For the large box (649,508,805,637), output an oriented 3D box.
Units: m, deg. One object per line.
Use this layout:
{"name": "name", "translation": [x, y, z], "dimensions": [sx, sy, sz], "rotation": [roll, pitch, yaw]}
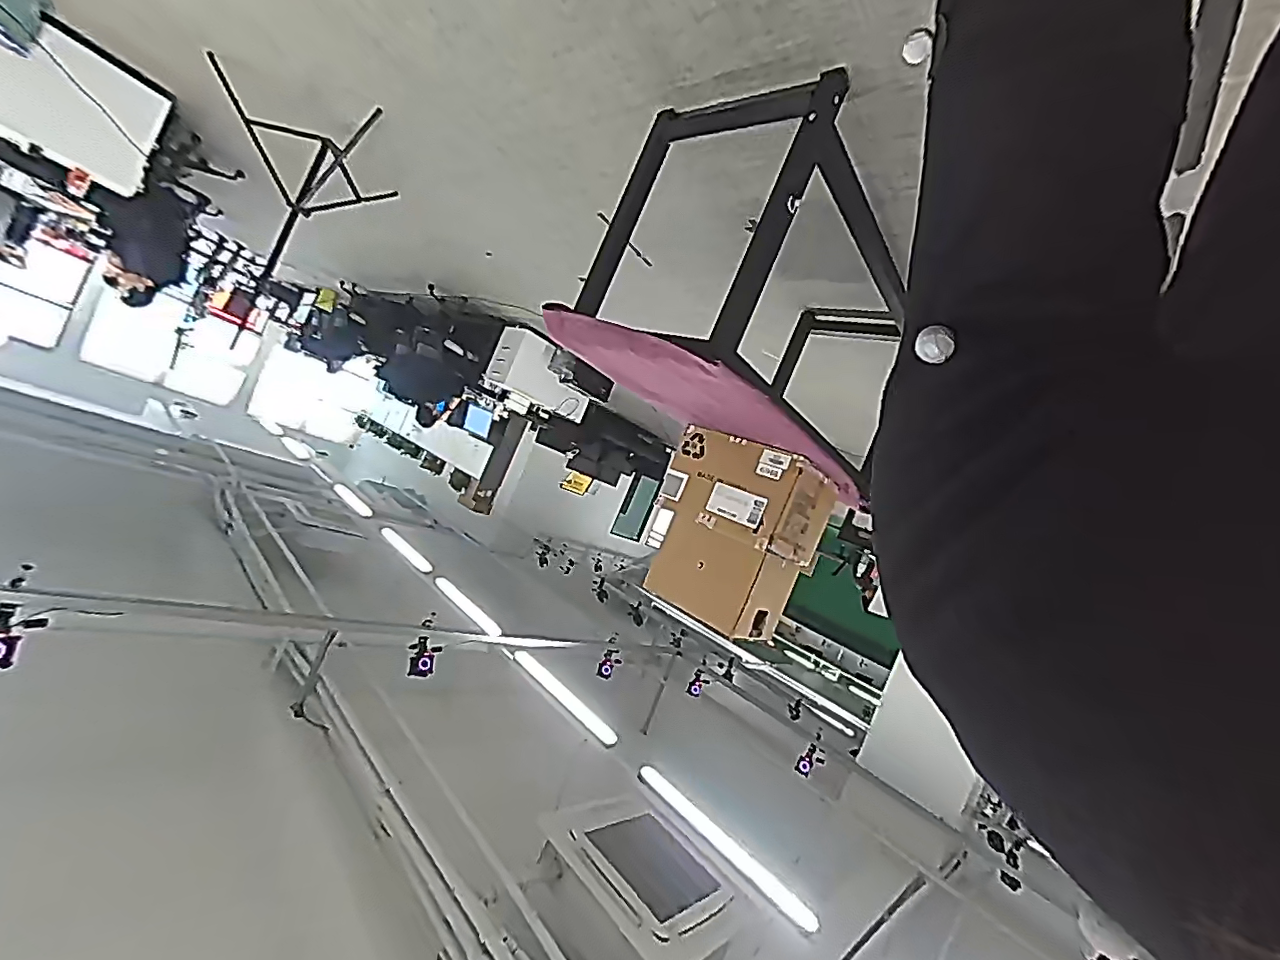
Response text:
{"name": "large box", "translation": [0.310, 0.327, 1.946], "dimensions": [0.408, 0.320, 0.320], "rotation": [21, 180, 42]}
